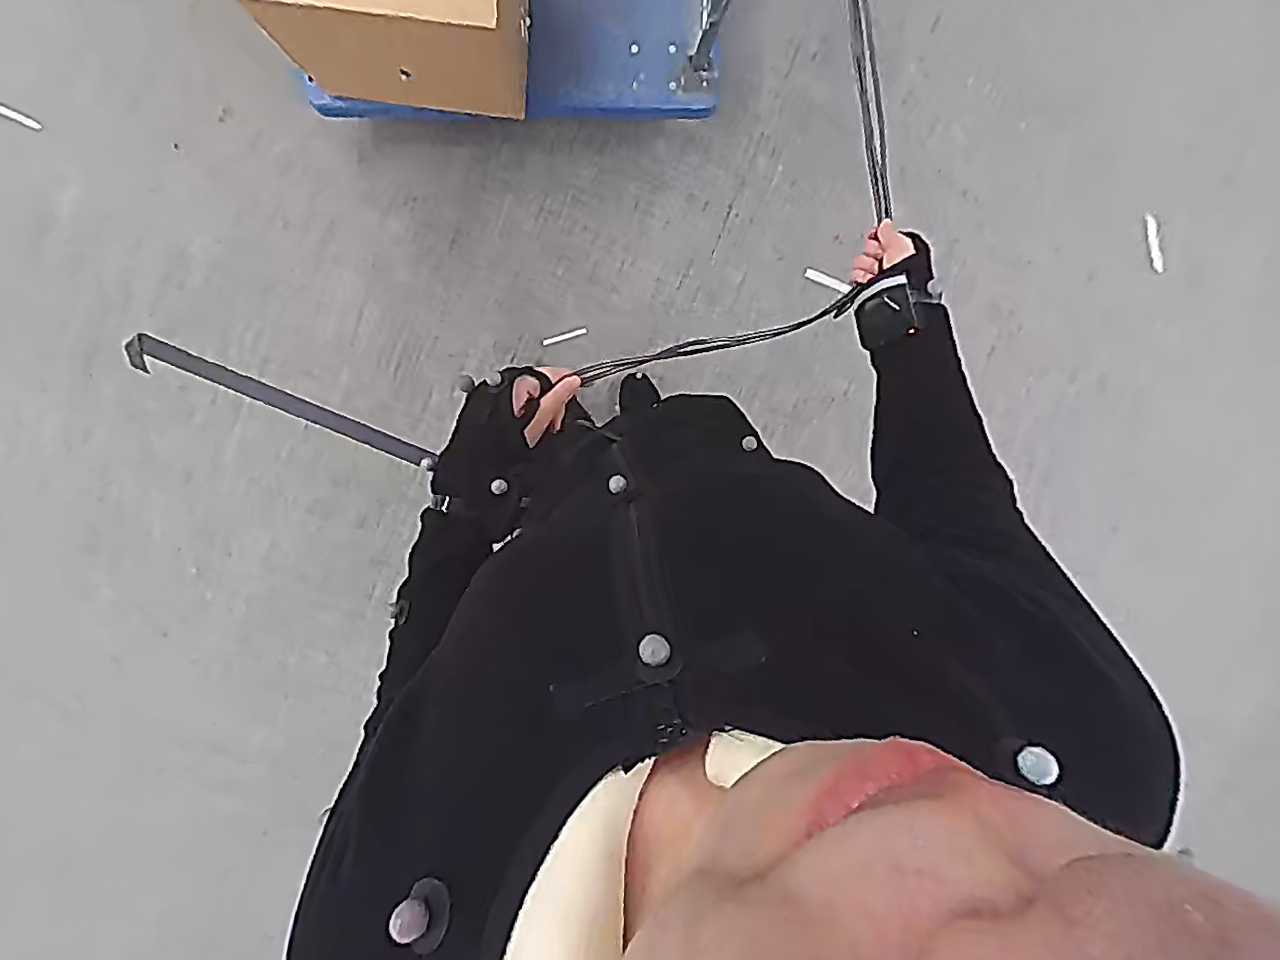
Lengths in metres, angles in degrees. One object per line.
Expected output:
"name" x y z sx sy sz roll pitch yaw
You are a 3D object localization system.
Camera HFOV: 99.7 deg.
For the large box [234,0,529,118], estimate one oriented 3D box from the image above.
"large box" -0.416 -0.886 0.950 0.408 0.320 0.320 4 100 -4
